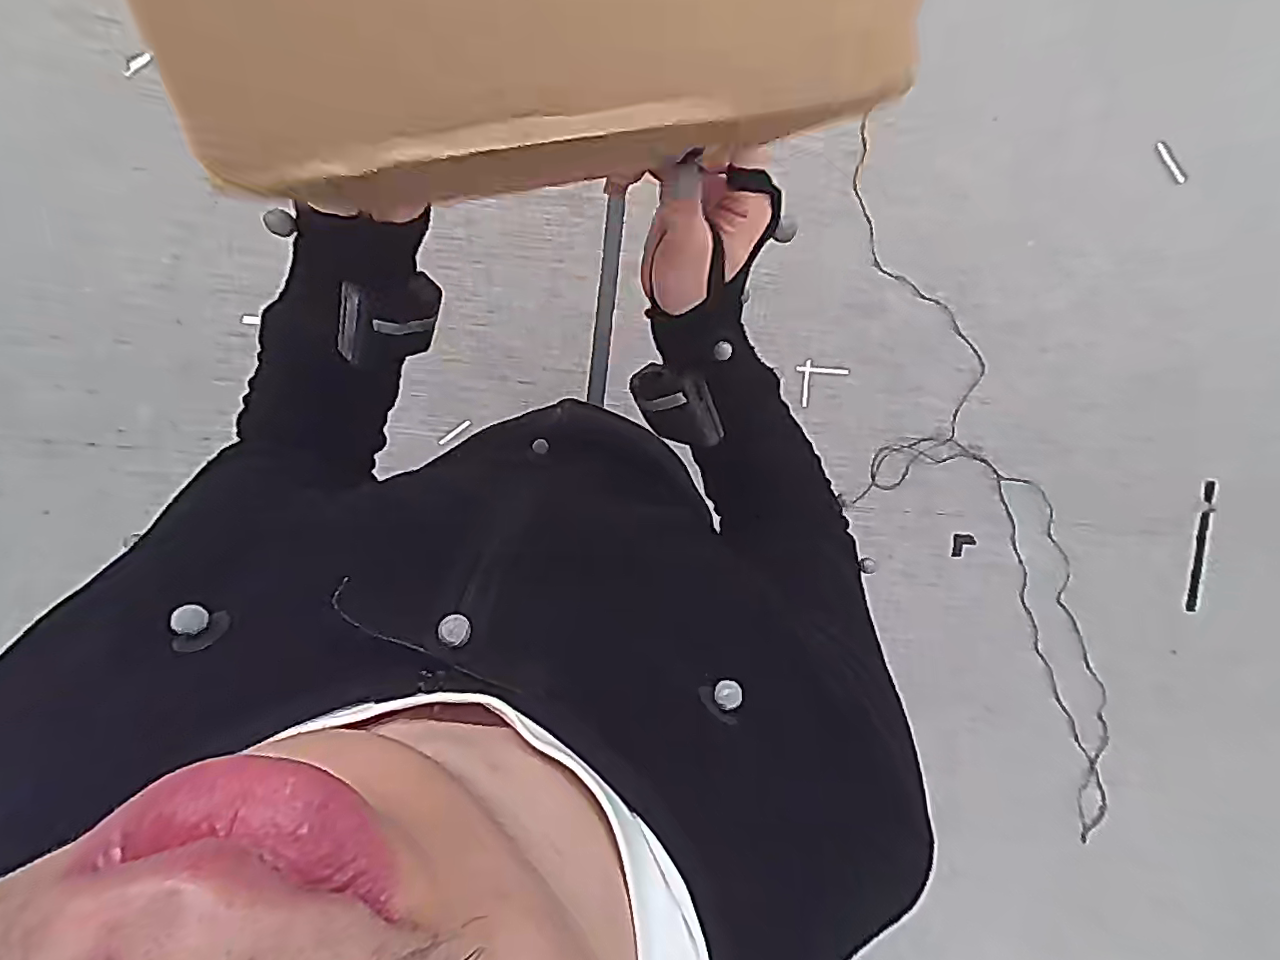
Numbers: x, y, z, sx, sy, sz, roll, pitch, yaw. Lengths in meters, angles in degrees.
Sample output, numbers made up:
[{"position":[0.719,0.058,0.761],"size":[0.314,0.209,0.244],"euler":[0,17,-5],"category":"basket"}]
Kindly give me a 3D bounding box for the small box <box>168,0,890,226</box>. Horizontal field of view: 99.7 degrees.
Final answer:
[{"position":[-0.046,-0.194,0.181],"size":[0.179,0.176,0.168],"euler":[-17,115,-5],"category":"small box"}]
